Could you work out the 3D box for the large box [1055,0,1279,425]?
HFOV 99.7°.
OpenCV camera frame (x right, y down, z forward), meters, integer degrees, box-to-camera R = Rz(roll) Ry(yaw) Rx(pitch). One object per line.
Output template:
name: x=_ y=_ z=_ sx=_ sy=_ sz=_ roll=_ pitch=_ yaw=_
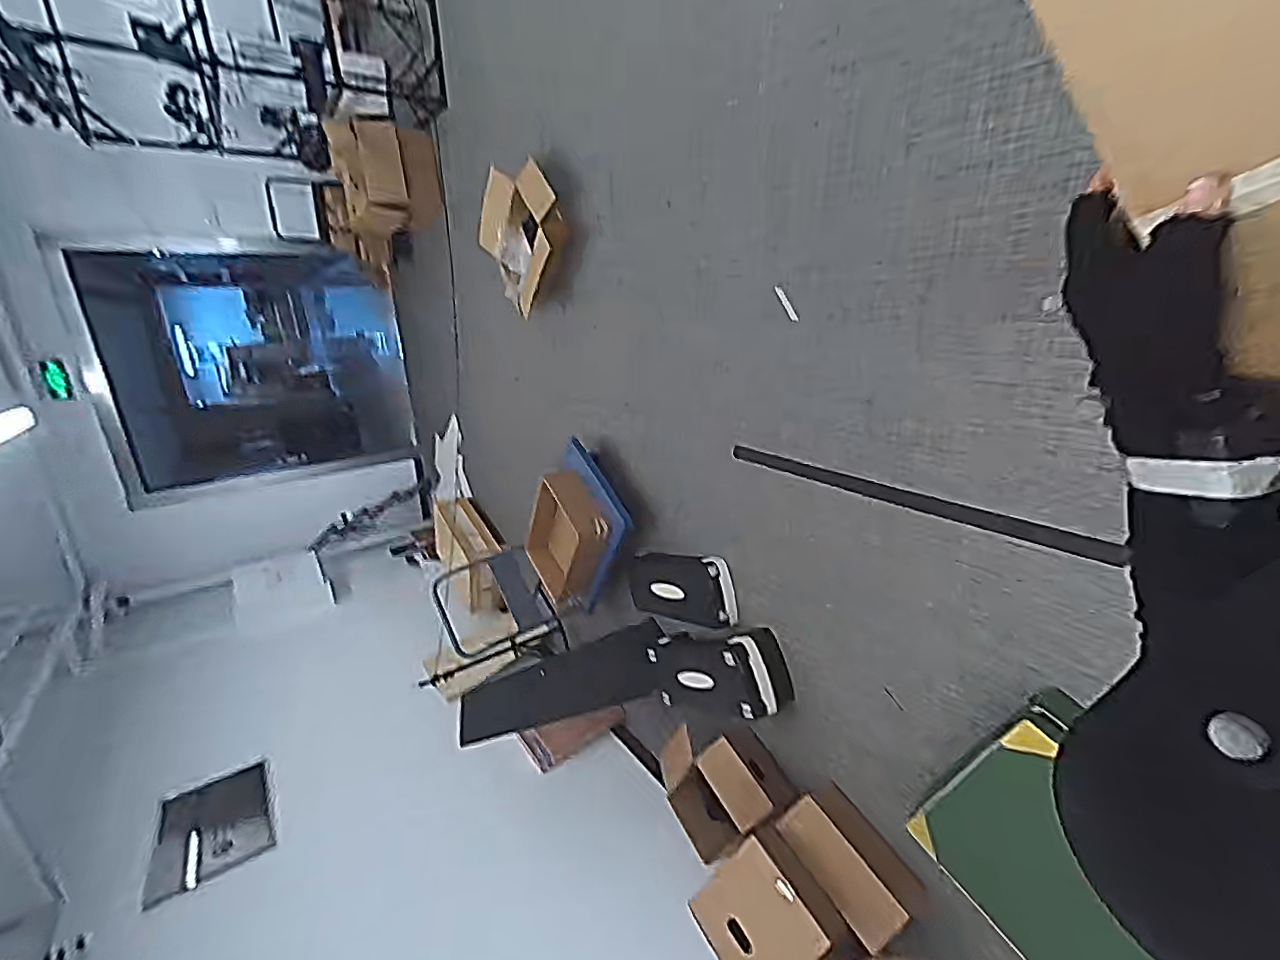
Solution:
large box: x=0.495 y=-0.262 z=0.207 sx=0.320 sy=0.320 sz=0.408 roll=52 pitch=156 yaw=-13
